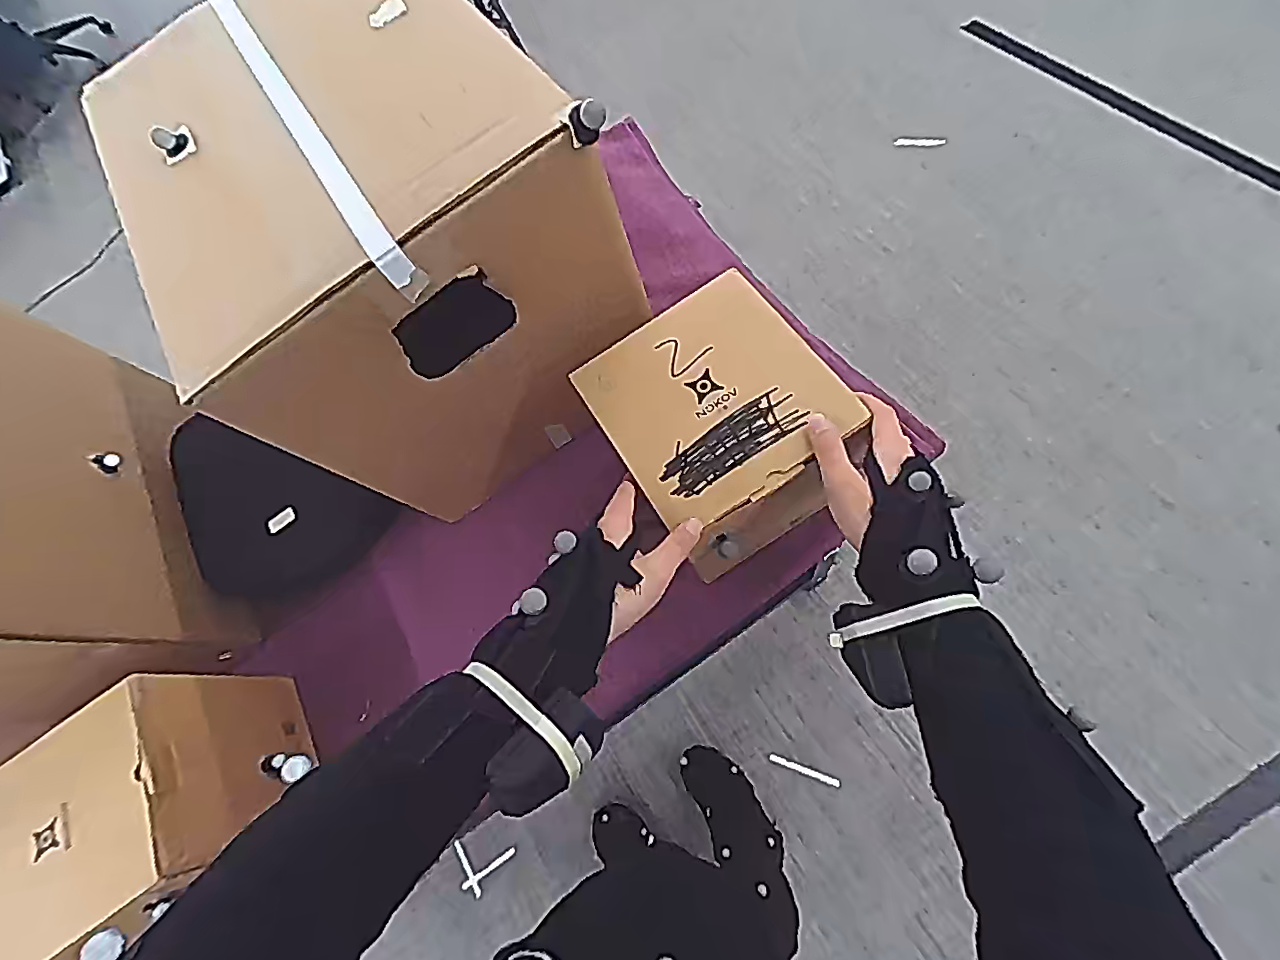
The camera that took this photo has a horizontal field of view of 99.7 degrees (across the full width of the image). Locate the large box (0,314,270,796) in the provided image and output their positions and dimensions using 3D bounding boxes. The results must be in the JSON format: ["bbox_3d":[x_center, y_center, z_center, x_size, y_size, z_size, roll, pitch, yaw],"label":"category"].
[{"bbox_3d":[-0.684,0.075,0.563,0.320,0.320,0.408,-35,69,0],"label":"large box"}]
